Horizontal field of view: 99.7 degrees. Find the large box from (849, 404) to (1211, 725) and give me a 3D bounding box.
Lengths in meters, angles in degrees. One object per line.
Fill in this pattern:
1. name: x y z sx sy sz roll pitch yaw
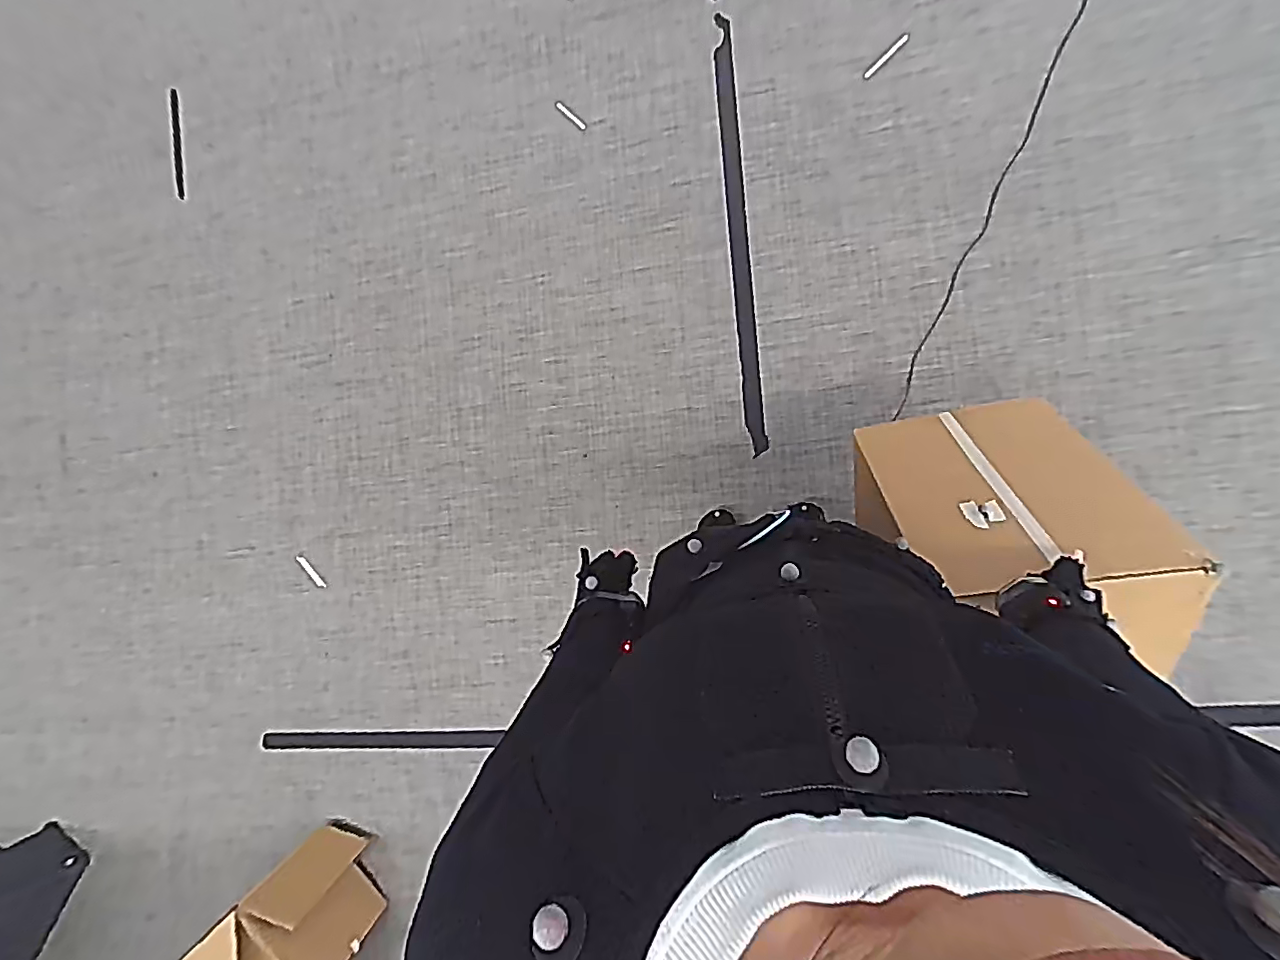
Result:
1. large box: 0.557 0.128 0.891 0.320 0.408 0.320 -11 126 12
